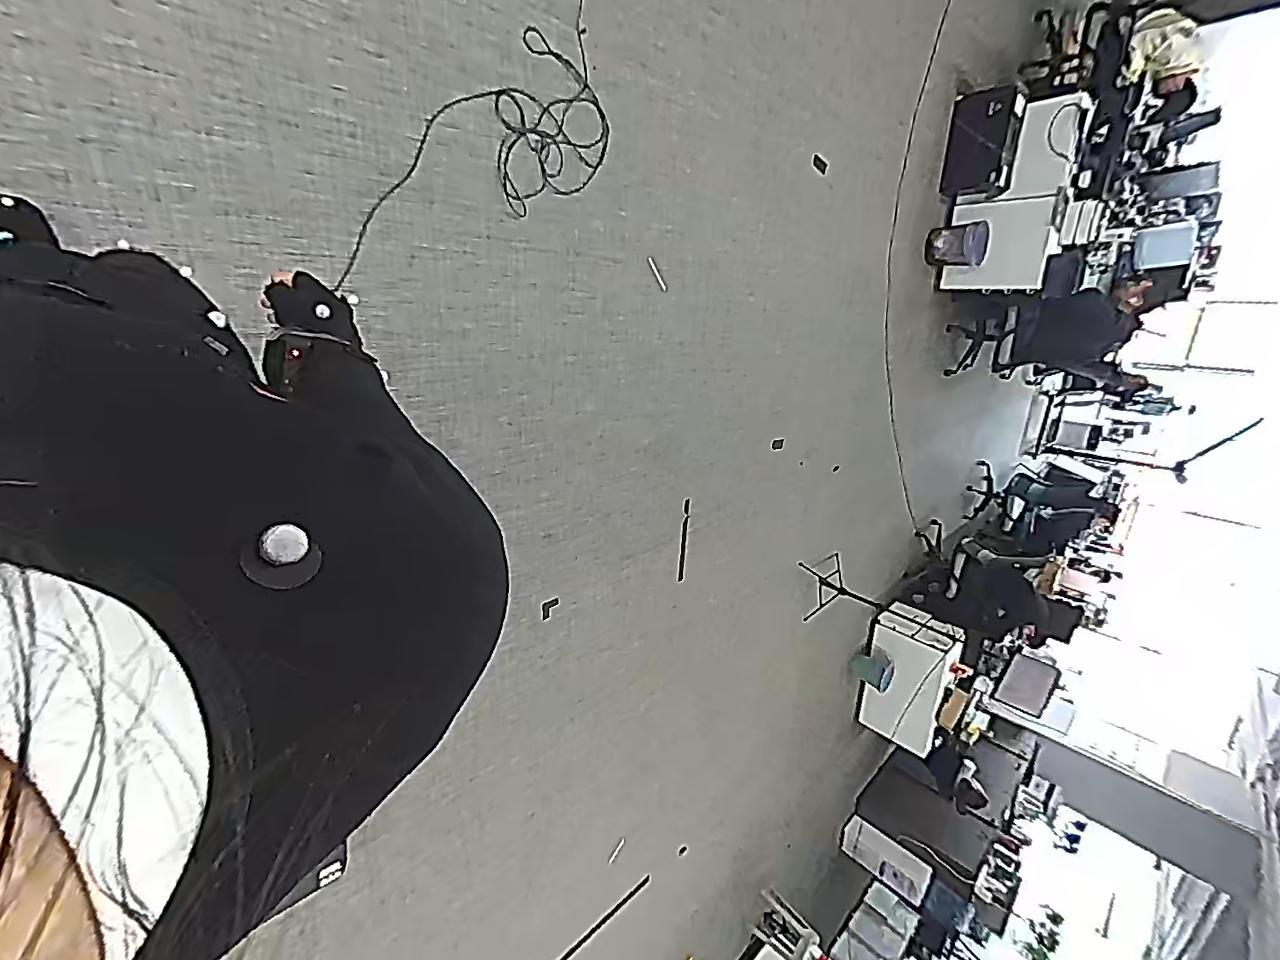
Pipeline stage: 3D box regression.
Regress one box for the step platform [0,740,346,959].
[{"bbox_3d":[-1.077,0.927,1.264,0.684,0.204,0.286,-16,115,-40],"label":"step platform"}]
